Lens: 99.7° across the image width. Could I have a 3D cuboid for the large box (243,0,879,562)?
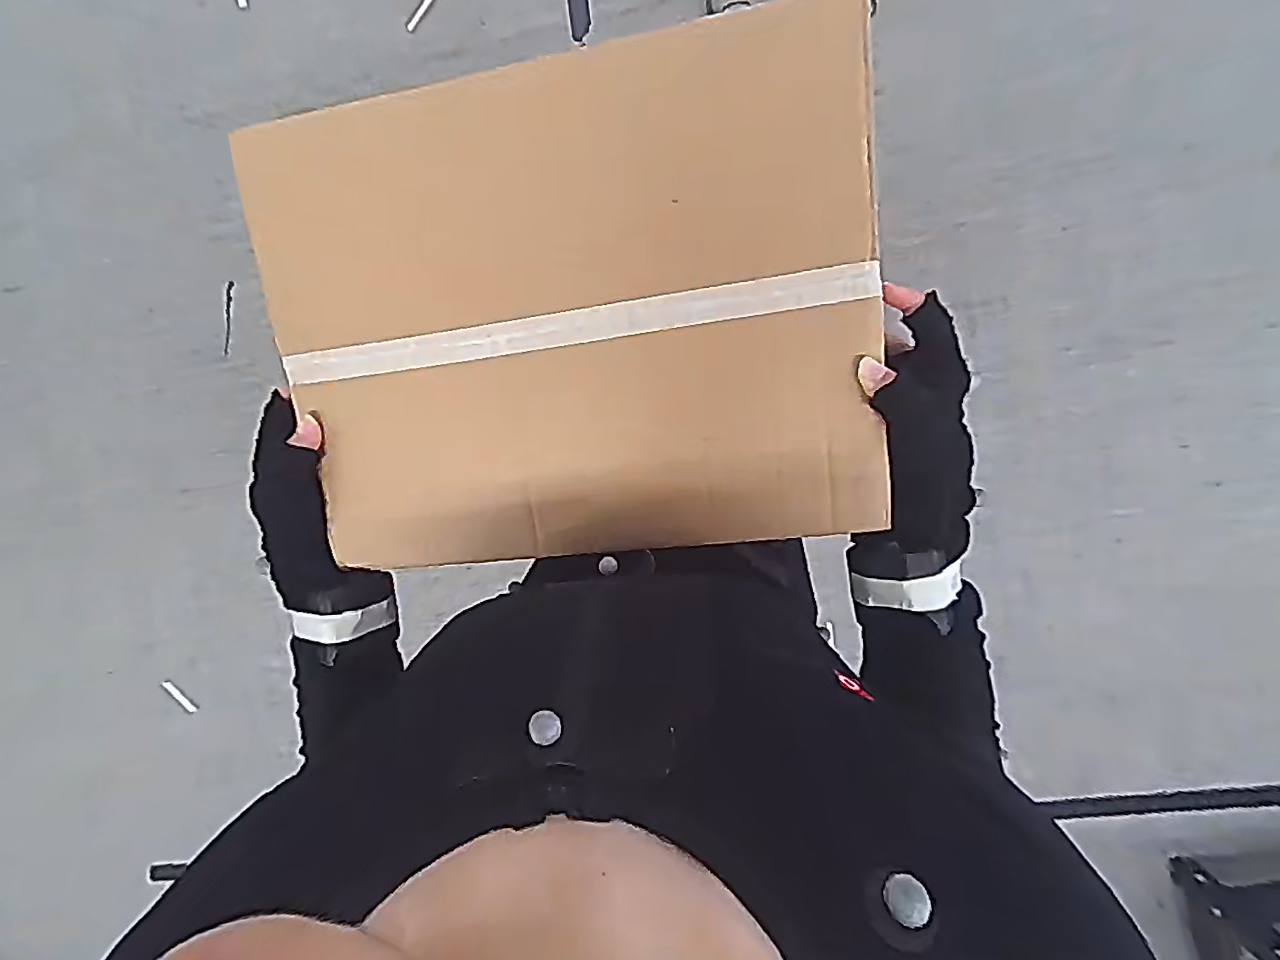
[{"bbox_3d":[-0.033,-0.139,0.507,0.408,0.320,0.320,-6,101,10],"label":"large box"}]
